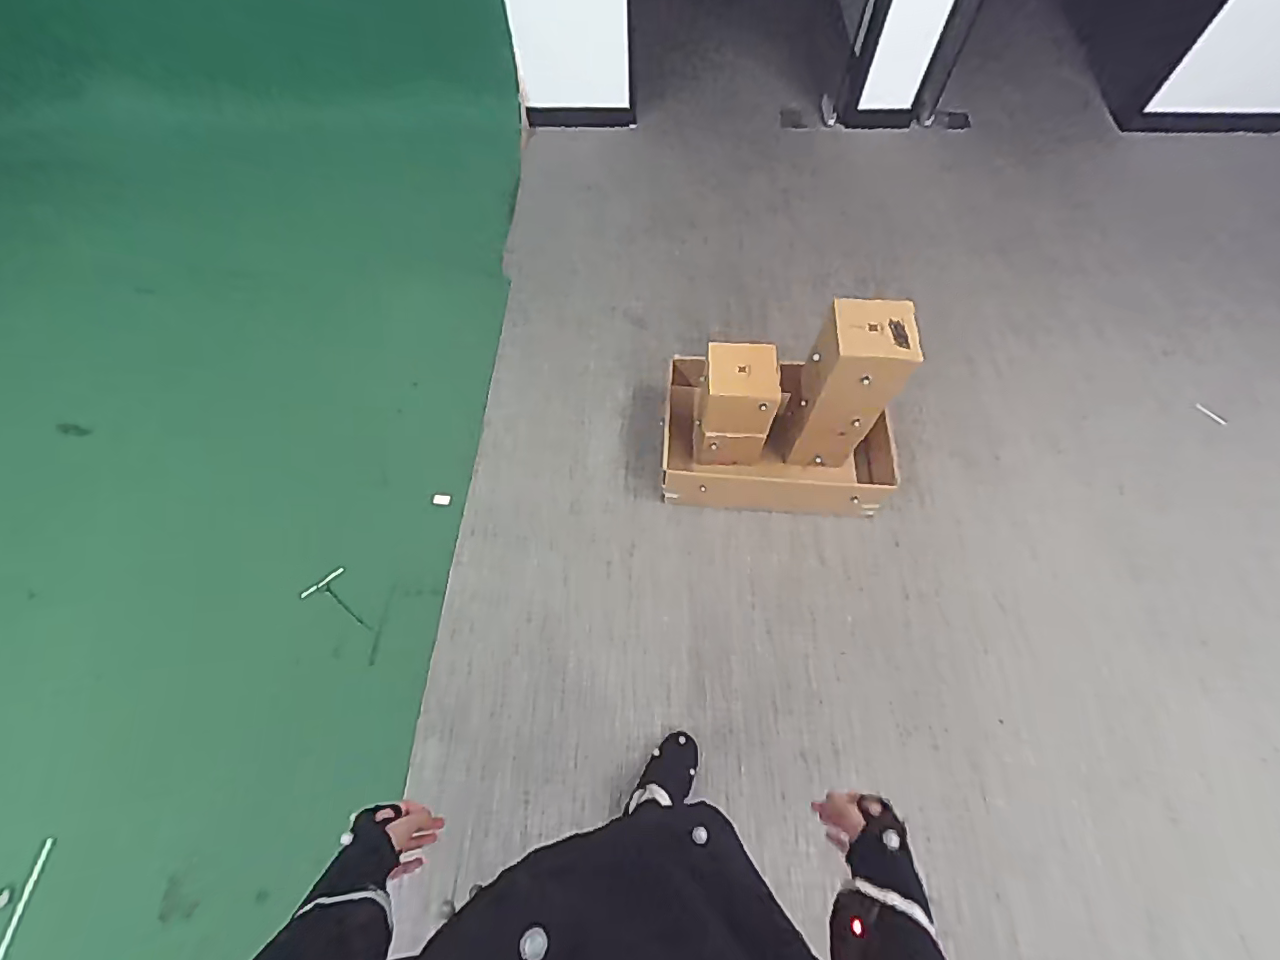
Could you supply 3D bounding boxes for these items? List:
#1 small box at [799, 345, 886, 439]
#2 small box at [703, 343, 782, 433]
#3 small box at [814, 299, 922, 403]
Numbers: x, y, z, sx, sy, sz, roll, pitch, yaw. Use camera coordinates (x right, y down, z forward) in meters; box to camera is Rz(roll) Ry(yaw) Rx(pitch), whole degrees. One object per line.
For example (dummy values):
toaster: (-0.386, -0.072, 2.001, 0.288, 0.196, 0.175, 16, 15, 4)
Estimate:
small box: (0.511, -0.222, 1.390, 0.168, 0.176, 0.179, 4, 64, 3)
small box: (0.257, -0.234, 1.400, 0.179, 0.176, 0.168, 2, 64, 0)
small box: (0.513, -0.290, 1.241, 0.179, 0.176, 0.168, 4, 64, 4)
